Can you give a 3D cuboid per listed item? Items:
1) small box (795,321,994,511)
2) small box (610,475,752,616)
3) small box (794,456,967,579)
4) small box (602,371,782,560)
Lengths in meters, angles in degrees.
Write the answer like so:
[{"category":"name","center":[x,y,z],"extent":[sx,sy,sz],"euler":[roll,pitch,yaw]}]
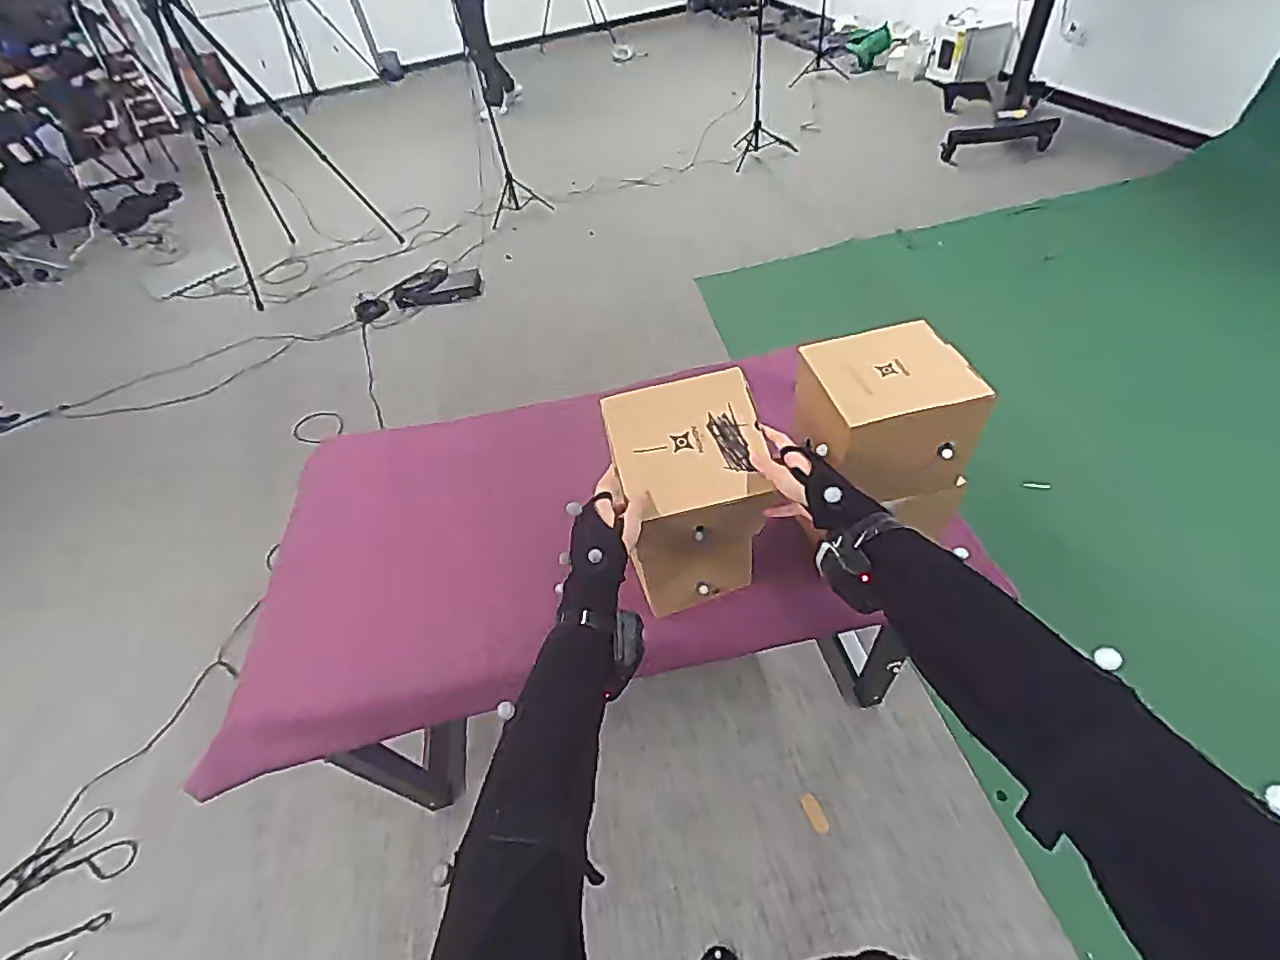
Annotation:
[{"category":"small box","center":[0.321,-0.083,0.729],"extent":[0.179,0.176,0.168],"euler":[-13,48,1]},{"category":"small box","center":[0.064,0.082,0.852],"extent":[0.168,0.176,0.179],"euler":[-19,48,-5]},{"category":"small box","center":[0.357,0.027,0.845],"extent":[0.179,0.176,0.168],"euler":[-17,48,-4]},{"category":"small box","center":[0.058,-0.010,0.689],"extent":[0.179,0.176,0.168],"euler":[-13,67,-3]}]
